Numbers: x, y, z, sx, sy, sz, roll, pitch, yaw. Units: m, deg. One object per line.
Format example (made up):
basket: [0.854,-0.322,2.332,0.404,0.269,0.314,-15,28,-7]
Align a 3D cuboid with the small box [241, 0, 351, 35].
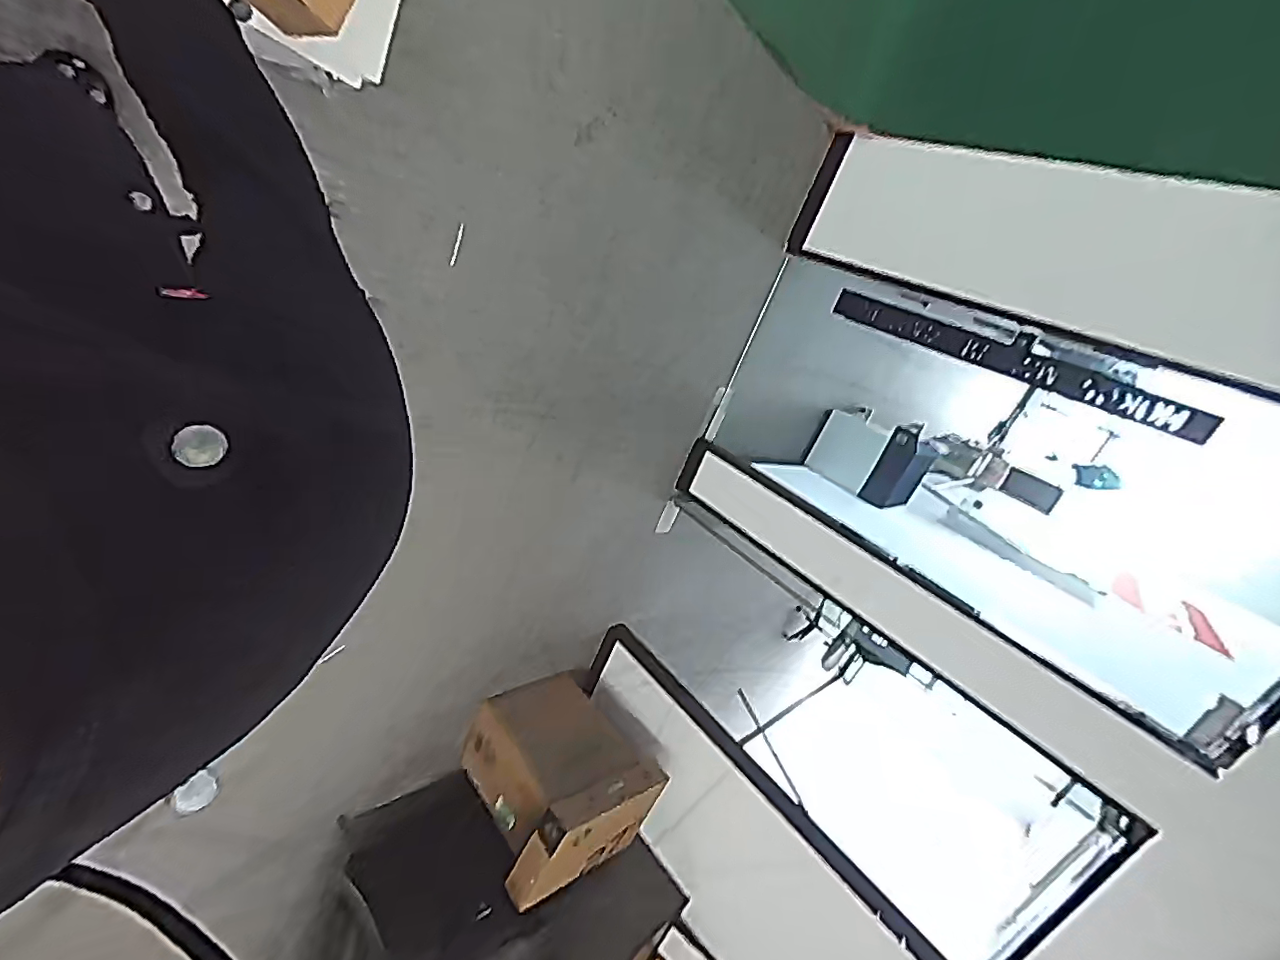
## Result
small box: [-0.345,-0.556,0.489,0.179,0.176,0.168,-57,144,6]
